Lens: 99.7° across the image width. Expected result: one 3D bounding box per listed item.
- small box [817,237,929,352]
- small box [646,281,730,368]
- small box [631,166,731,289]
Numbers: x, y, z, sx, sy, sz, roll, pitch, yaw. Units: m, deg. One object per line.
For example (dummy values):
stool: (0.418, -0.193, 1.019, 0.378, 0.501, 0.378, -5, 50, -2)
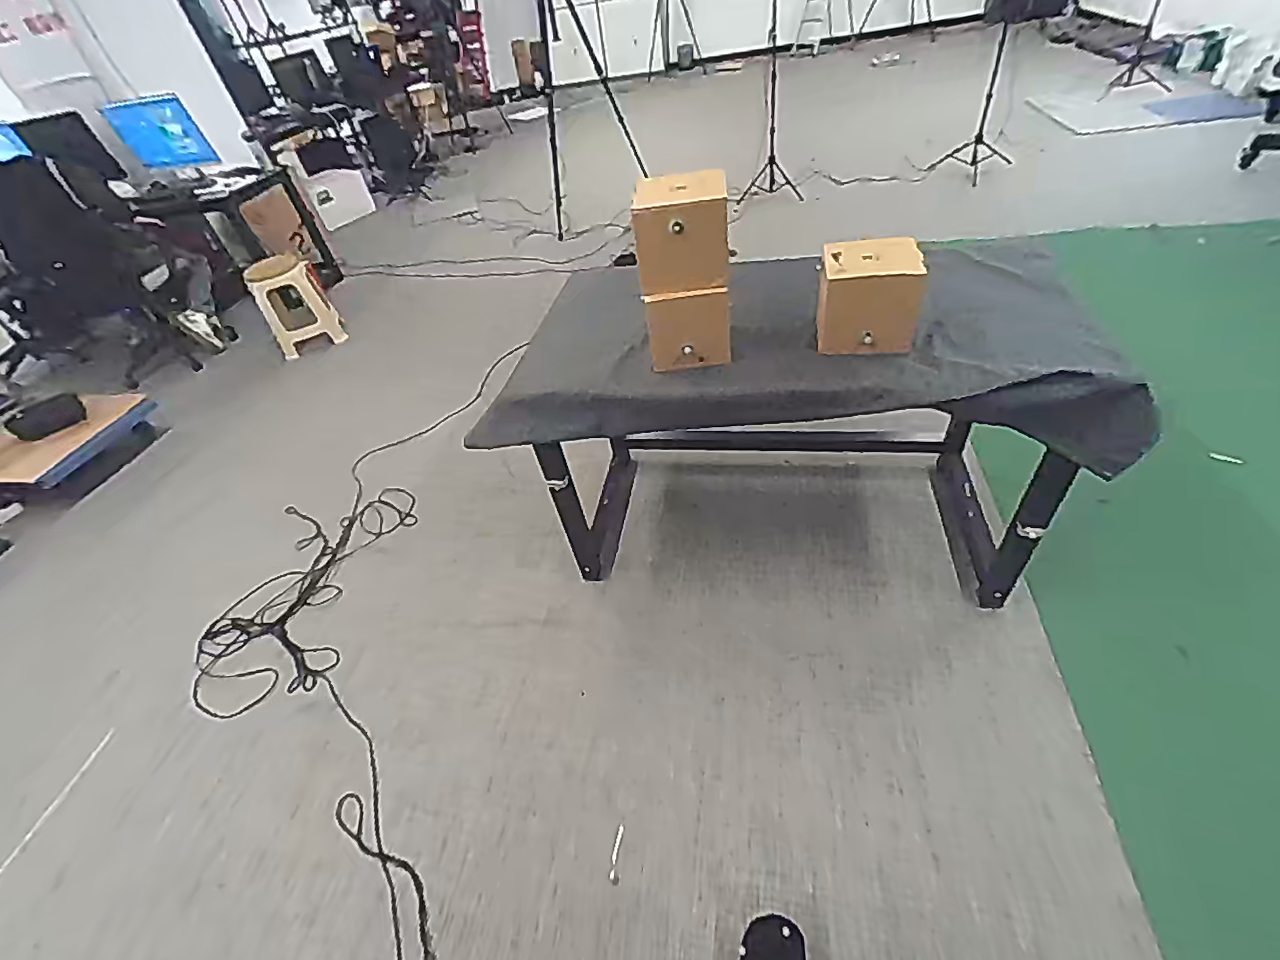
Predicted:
small box: (0.462, -0.373, 1.098, 0.179, 0.176, 0.168, 3, 45, 13)
small box: (0.103, -0.362, 1.159, 0.168, 0.176, 0.179, -5, 45, 6)
small box: (0.087, -0.487, 1.056, 0.179, 0.176, 0.168, -2, 46, 8)
